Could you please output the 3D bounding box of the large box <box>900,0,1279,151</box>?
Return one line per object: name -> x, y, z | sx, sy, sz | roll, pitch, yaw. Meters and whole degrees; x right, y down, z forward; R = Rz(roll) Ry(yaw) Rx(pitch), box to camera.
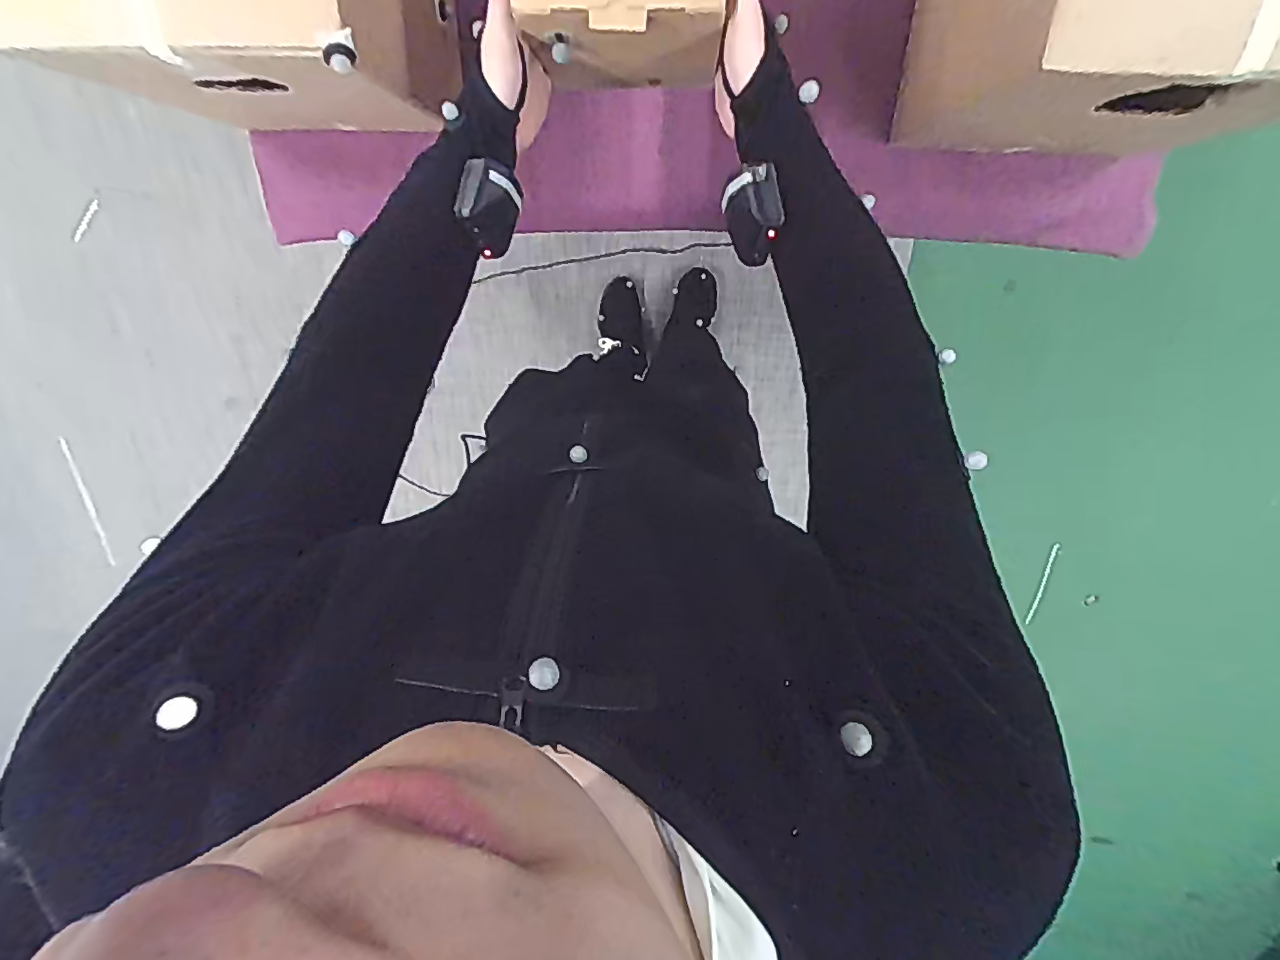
large box -> 0.485, -0.558, 0.492 | 0.320, 0.320, 0.408 | 2, 113, 2
